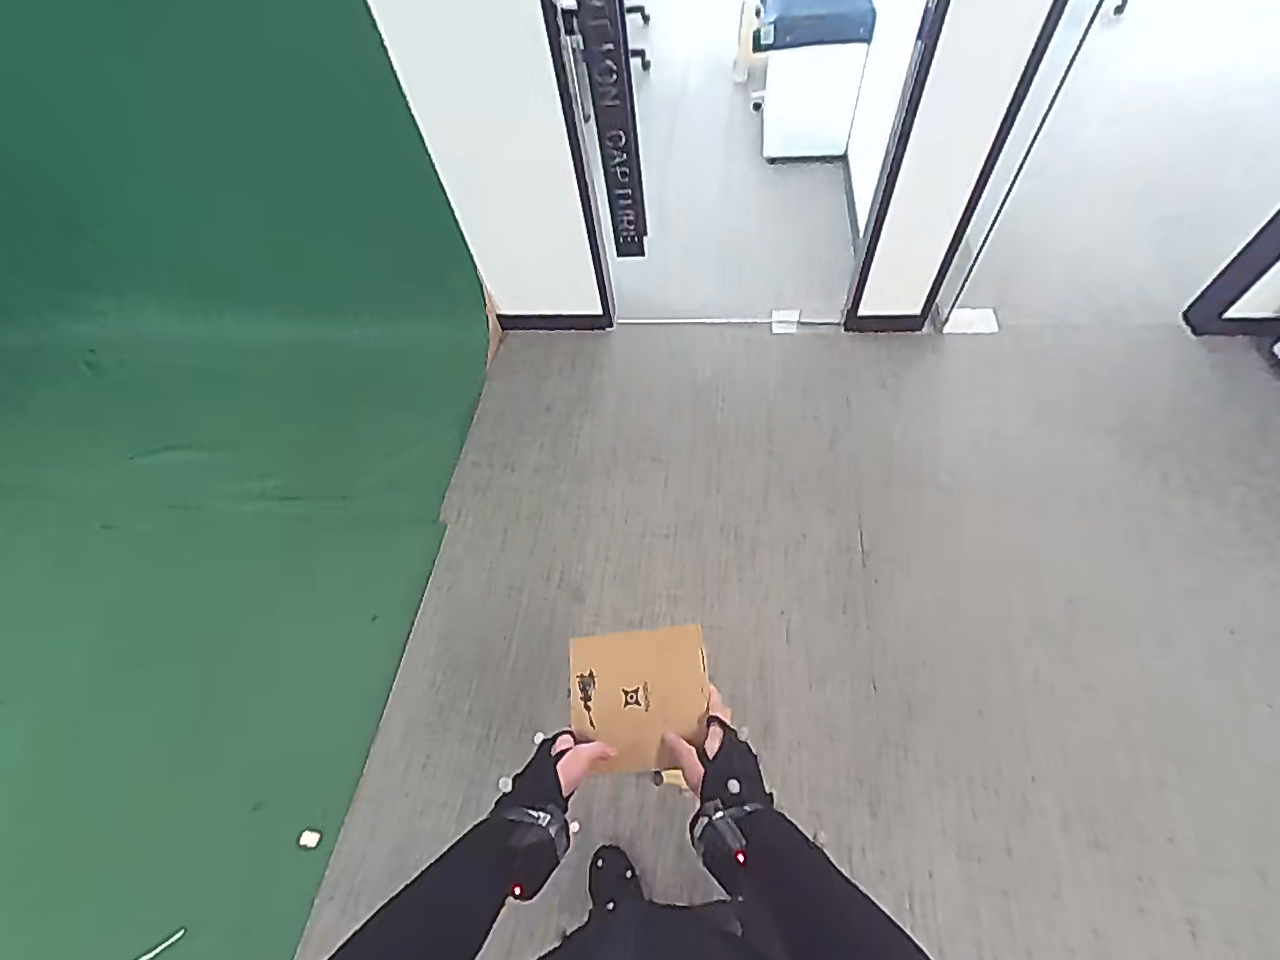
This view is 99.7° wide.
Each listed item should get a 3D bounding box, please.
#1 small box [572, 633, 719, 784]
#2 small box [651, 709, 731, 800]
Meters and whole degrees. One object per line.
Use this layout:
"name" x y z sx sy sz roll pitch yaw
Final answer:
"small box" 0.010 0.314 0.740 0.179 0.176 0.168 -7 61 4
"small box" 0.126 0.650 1.296 0.168 0.176 0.179 4 58 12
